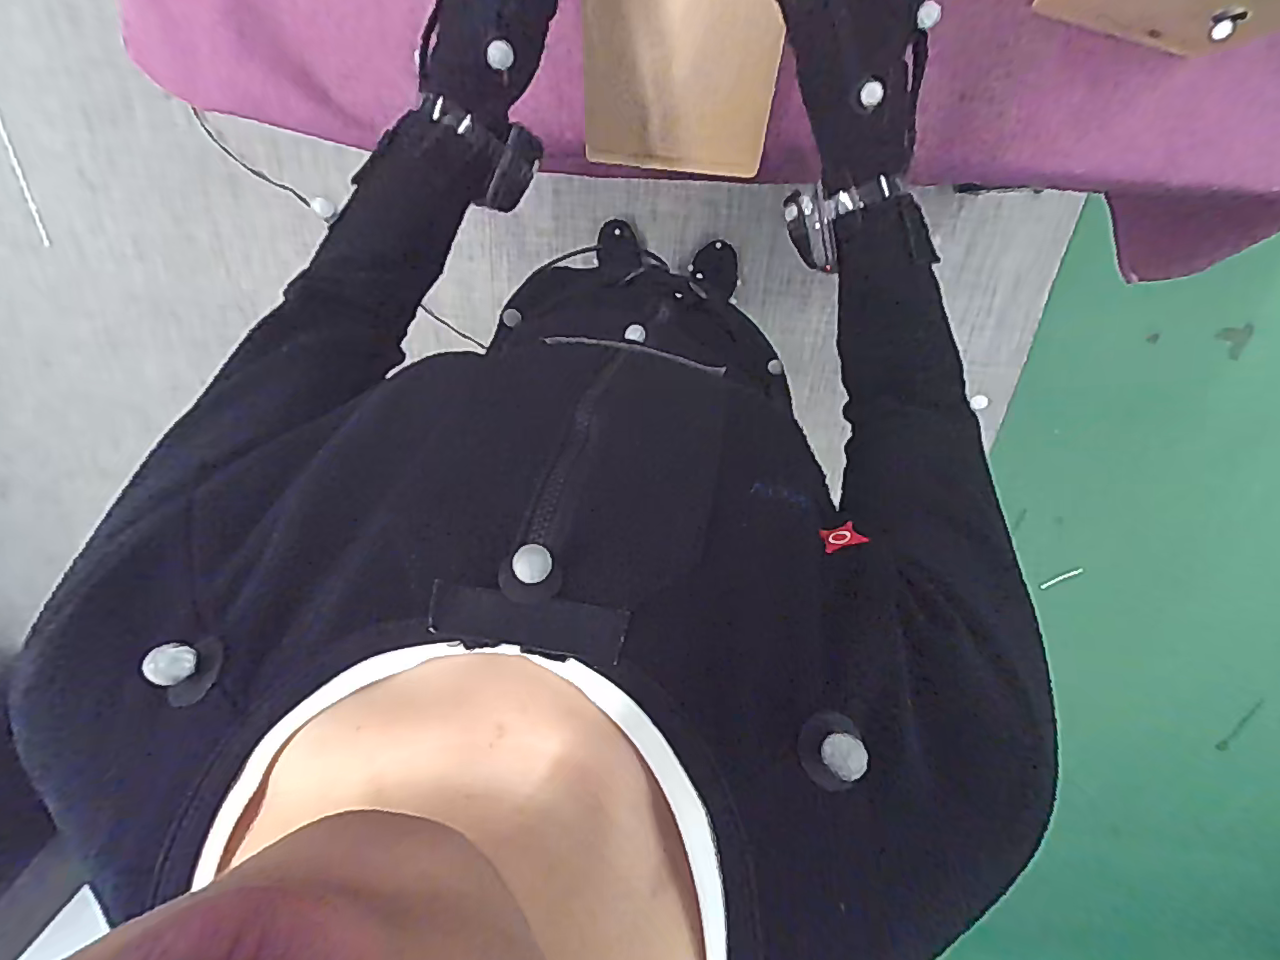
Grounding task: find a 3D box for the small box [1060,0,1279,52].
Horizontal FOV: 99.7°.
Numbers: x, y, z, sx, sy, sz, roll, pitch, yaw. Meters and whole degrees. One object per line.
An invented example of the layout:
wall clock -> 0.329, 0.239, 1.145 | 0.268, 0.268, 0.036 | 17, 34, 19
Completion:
small box -> 0.455, -0.453, 0.393 | 0.168, 0.176, 0.179 | 16, 116, -2
